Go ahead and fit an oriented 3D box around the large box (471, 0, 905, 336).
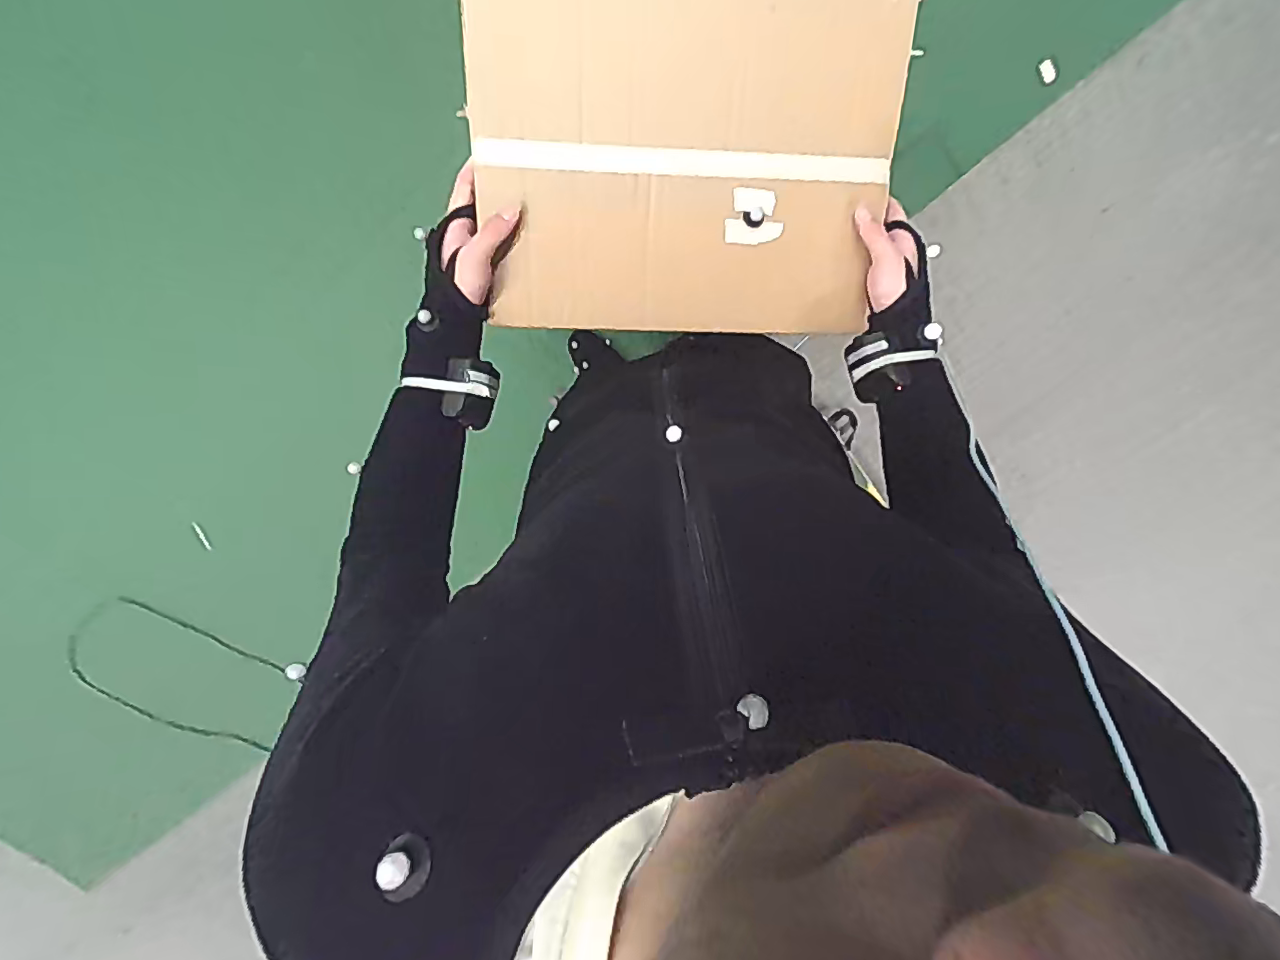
[{"bbox_3d":[0.030,-0.355,0.671,0.408,0.320,0.320,0,112,-7],"label":"large box"}]
